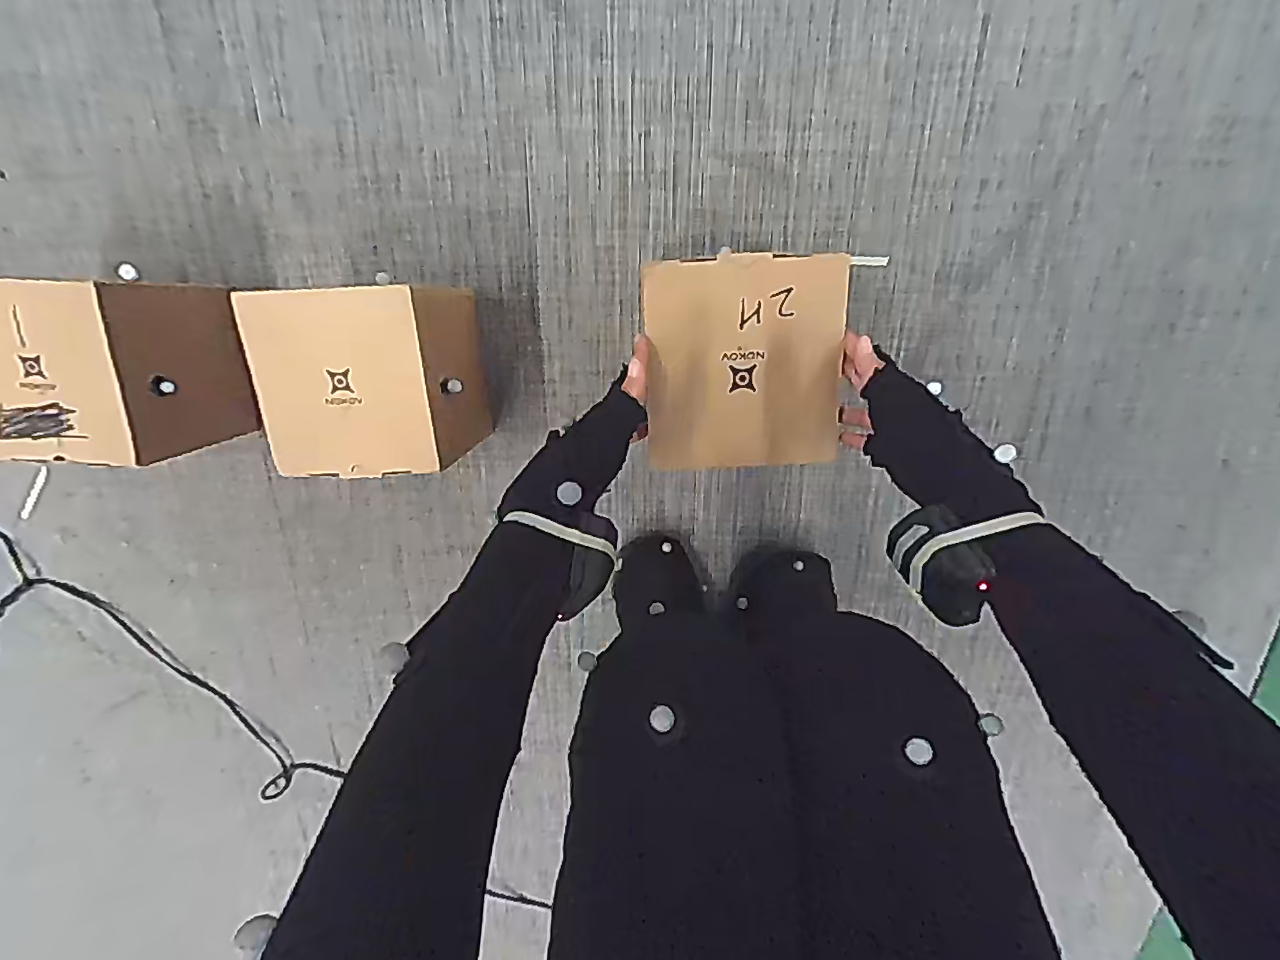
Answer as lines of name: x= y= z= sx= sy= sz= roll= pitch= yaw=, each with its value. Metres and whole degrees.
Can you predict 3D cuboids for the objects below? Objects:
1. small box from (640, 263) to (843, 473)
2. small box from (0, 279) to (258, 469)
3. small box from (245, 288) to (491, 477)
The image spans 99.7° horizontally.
small box: x=0.085 y=-0.116 z=0.537 sx=0.168 sy=0.176 sz=0.179 roll=-2 pitch=108 yaw=0
small box: x=-0.563 y=-0.123 z=0.595 sx=0.168 sy=0.176 sz=0.179 roll=3 pitch=108 yaw=1
small box: x=-0.273 y=-0.112 z=0.589 sx=0.168 sy=0.176 sz=0.179 roll=-2 pitch=109 yaw=3
